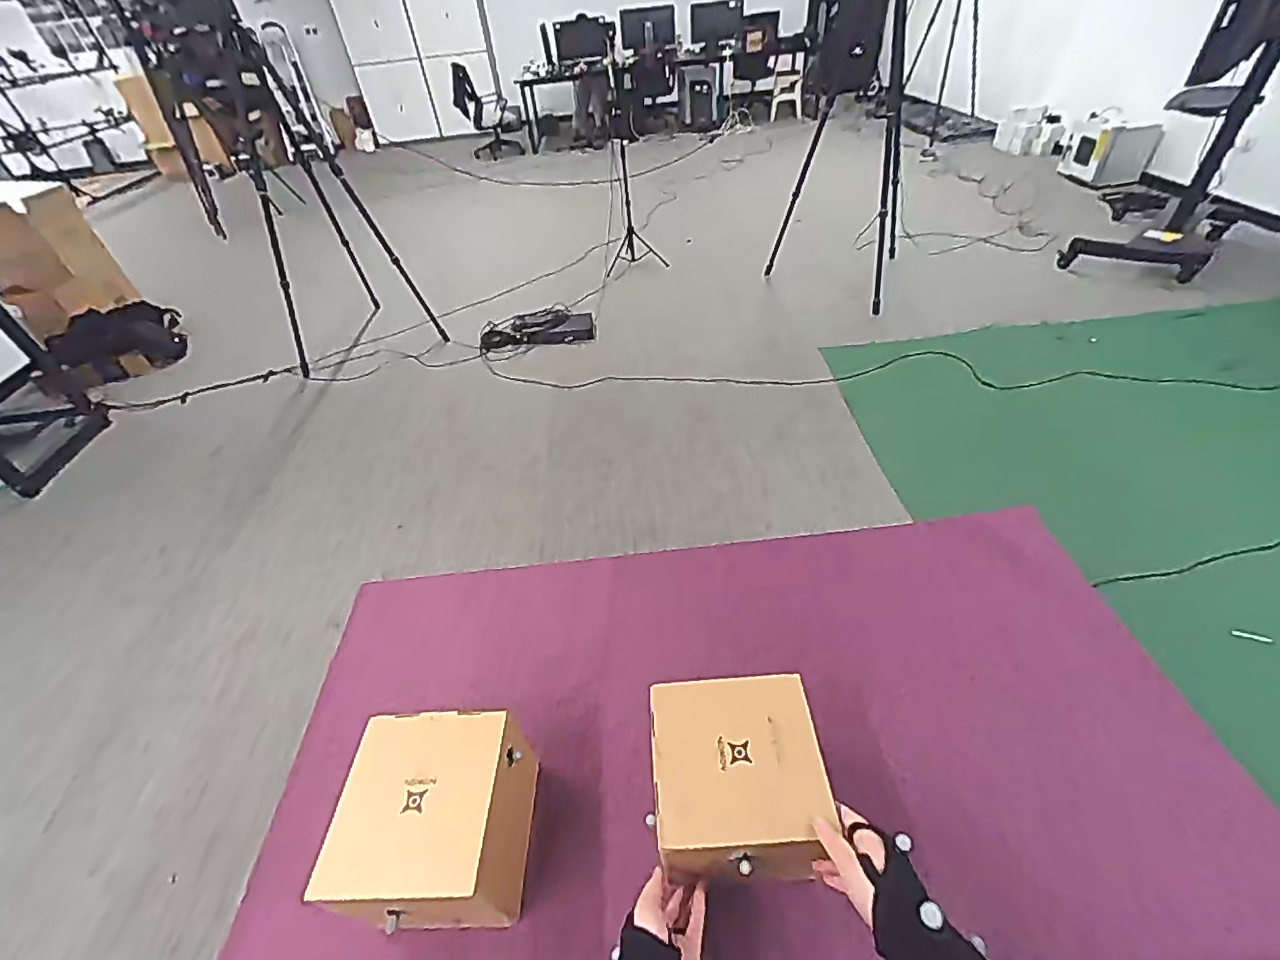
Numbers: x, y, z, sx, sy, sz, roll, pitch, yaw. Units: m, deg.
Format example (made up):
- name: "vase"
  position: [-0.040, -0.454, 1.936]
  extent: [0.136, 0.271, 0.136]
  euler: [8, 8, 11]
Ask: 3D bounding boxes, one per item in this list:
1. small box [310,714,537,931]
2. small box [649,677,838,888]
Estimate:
- name: "small box"
  position: [-0.224, 0.394, 0.619]
  extent: [0.168, 0.176, 0.179]
  euler: [-4, 41, 4]
- name: "small box"
  position: [0.107, 0.347, 0.618]
  extent: [0.179, 0.176, 0.168]
  euler: [-5, 42, 2]
